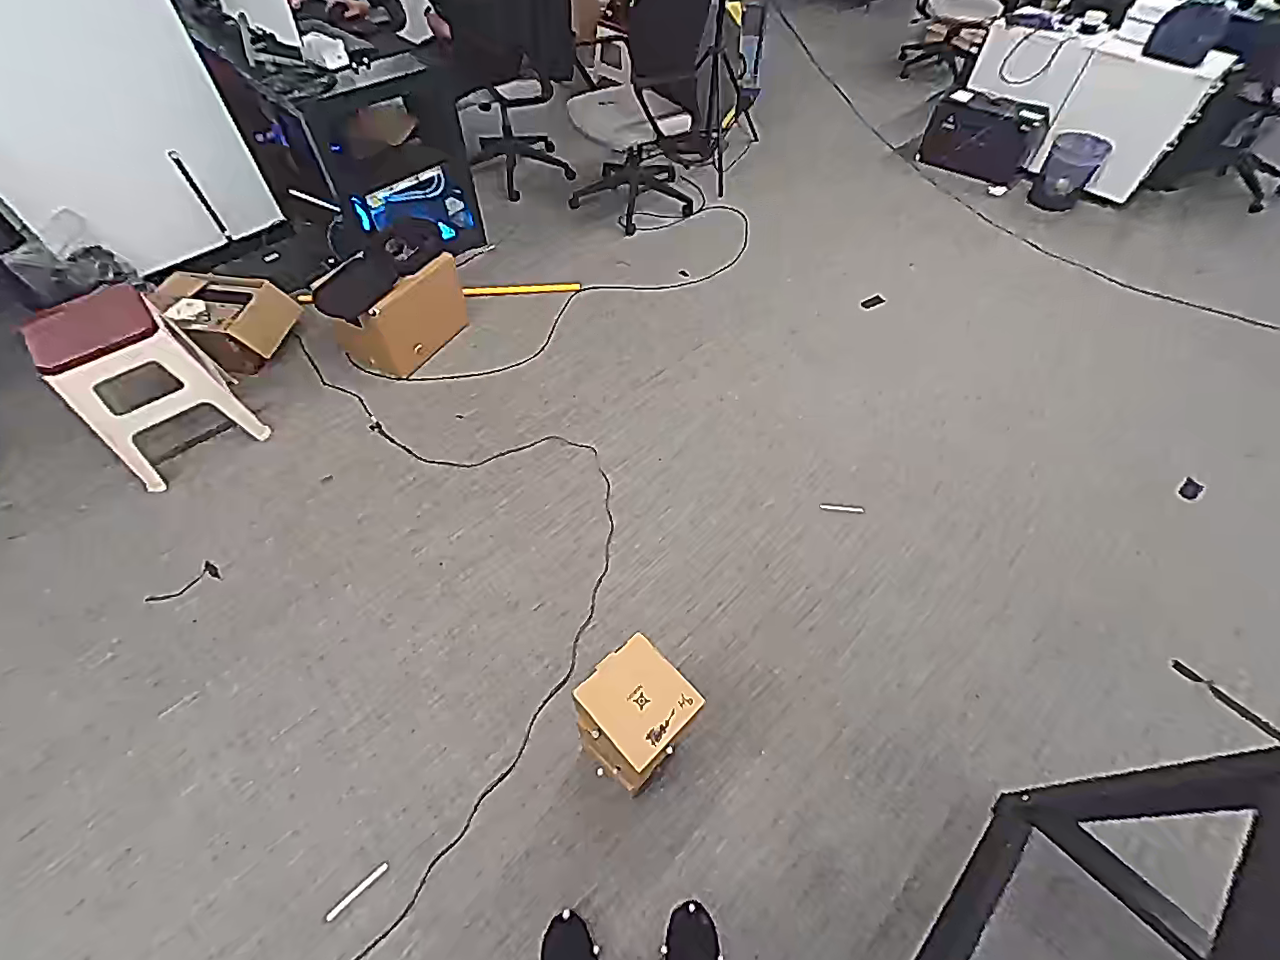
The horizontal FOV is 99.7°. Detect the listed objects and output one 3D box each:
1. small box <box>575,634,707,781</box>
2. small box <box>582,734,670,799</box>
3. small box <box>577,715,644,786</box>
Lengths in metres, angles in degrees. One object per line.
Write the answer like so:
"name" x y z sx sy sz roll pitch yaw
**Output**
"small box" -0.001 0.430 1.012 0.168 0.176 0.179 -37 63 -24
"small box" -0.017 0.617 1.279 0.168 0.176 0.179 37 62 23
"small box" -0.012 0.517 1.151 0.168 0.176 0.179 34 59 20
